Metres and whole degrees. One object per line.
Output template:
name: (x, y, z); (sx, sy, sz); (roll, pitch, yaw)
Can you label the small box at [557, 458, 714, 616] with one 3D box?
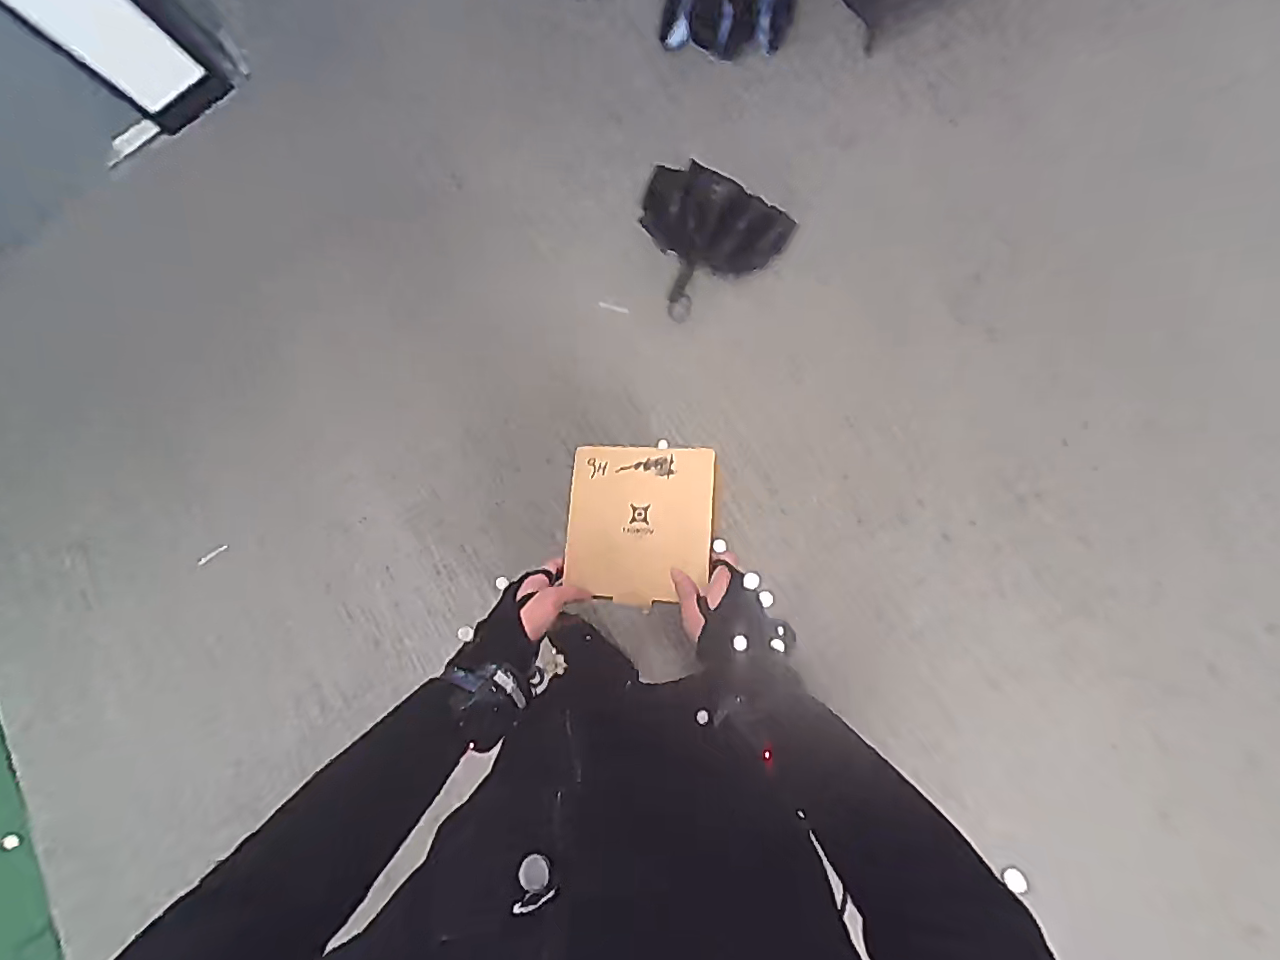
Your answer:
small box: (0.005, 0.075, 0.691); (0.168, 0.176, 0.179); (1, 79, 12)
